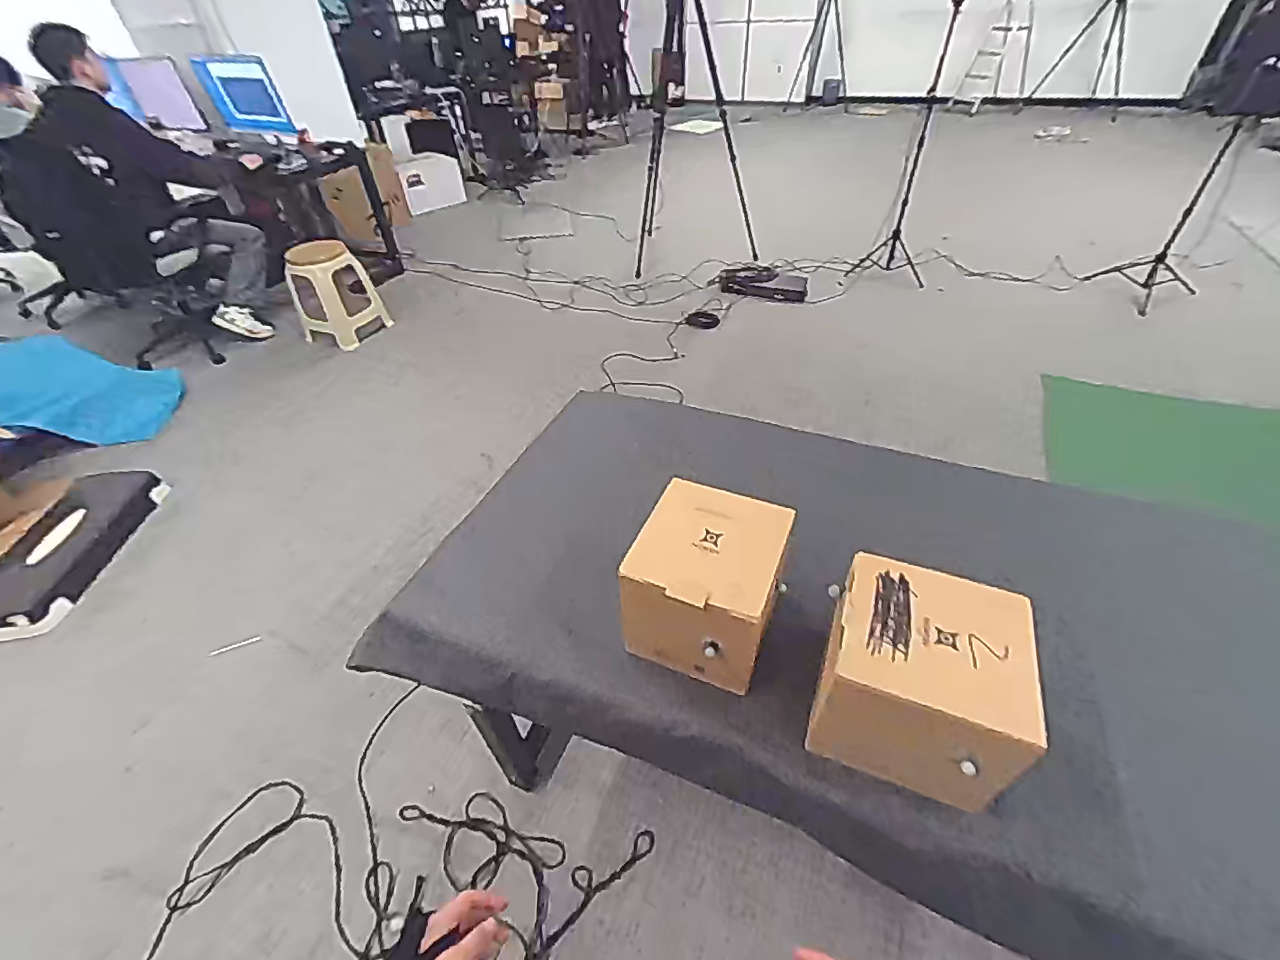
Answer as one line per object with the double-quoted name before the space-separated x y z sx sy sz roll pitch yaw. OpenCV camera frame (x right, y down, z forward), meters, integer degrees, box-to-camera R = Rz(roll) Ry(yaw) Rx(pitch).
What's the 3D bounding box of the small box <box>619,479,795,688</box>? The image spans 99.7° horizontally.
"small box" 0.087 0.131 0.691 0.168 0.176 0.179 16 44 18
